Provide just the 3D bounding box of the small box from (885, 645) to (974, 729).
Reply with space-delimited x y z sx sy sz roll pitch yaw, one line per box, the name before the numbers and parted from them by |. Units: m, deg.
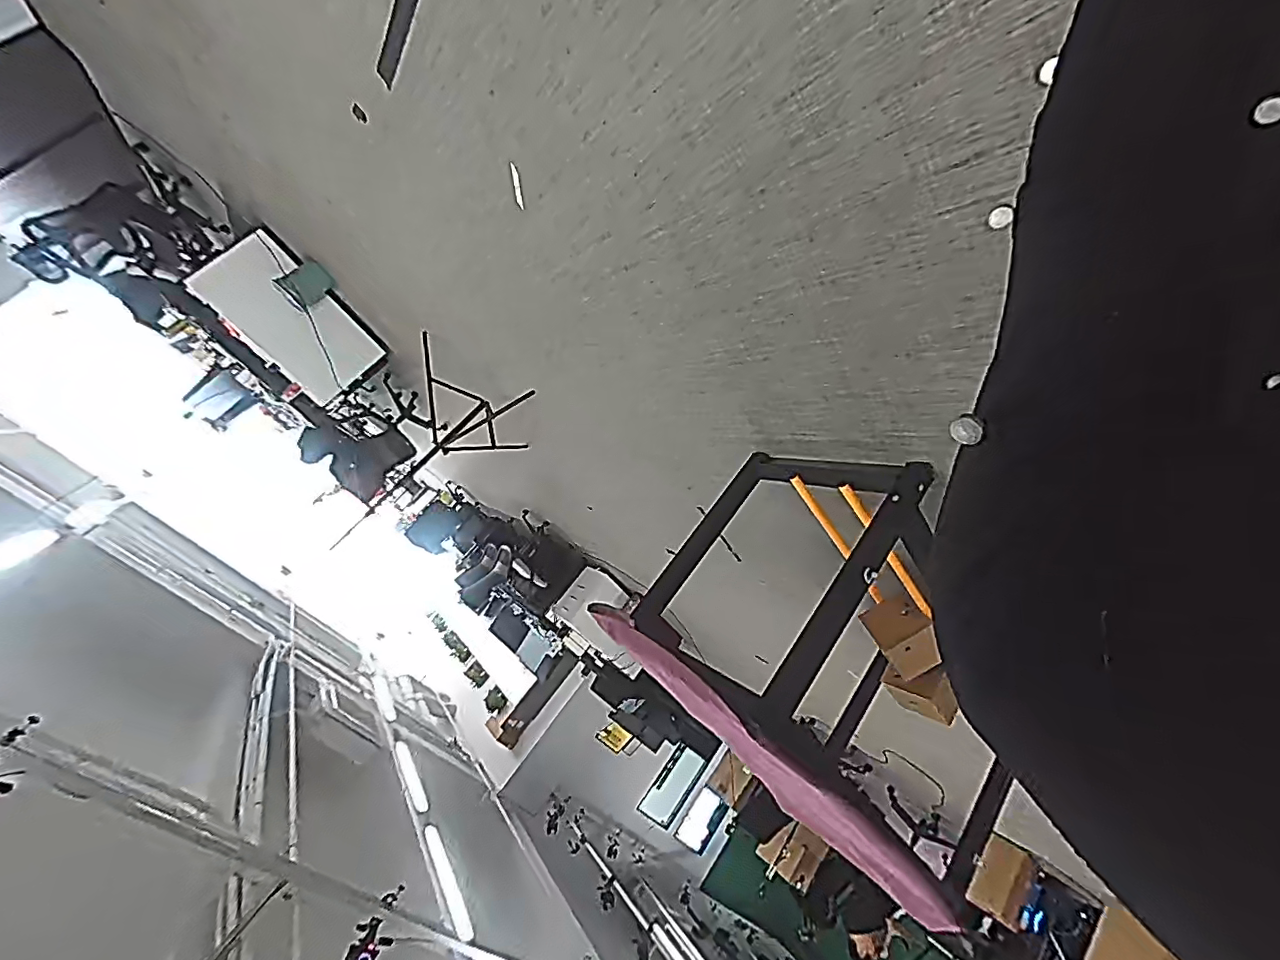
small box | 0.940 0.663 1.754 0.168 0.176 0.179 48 158 -24
